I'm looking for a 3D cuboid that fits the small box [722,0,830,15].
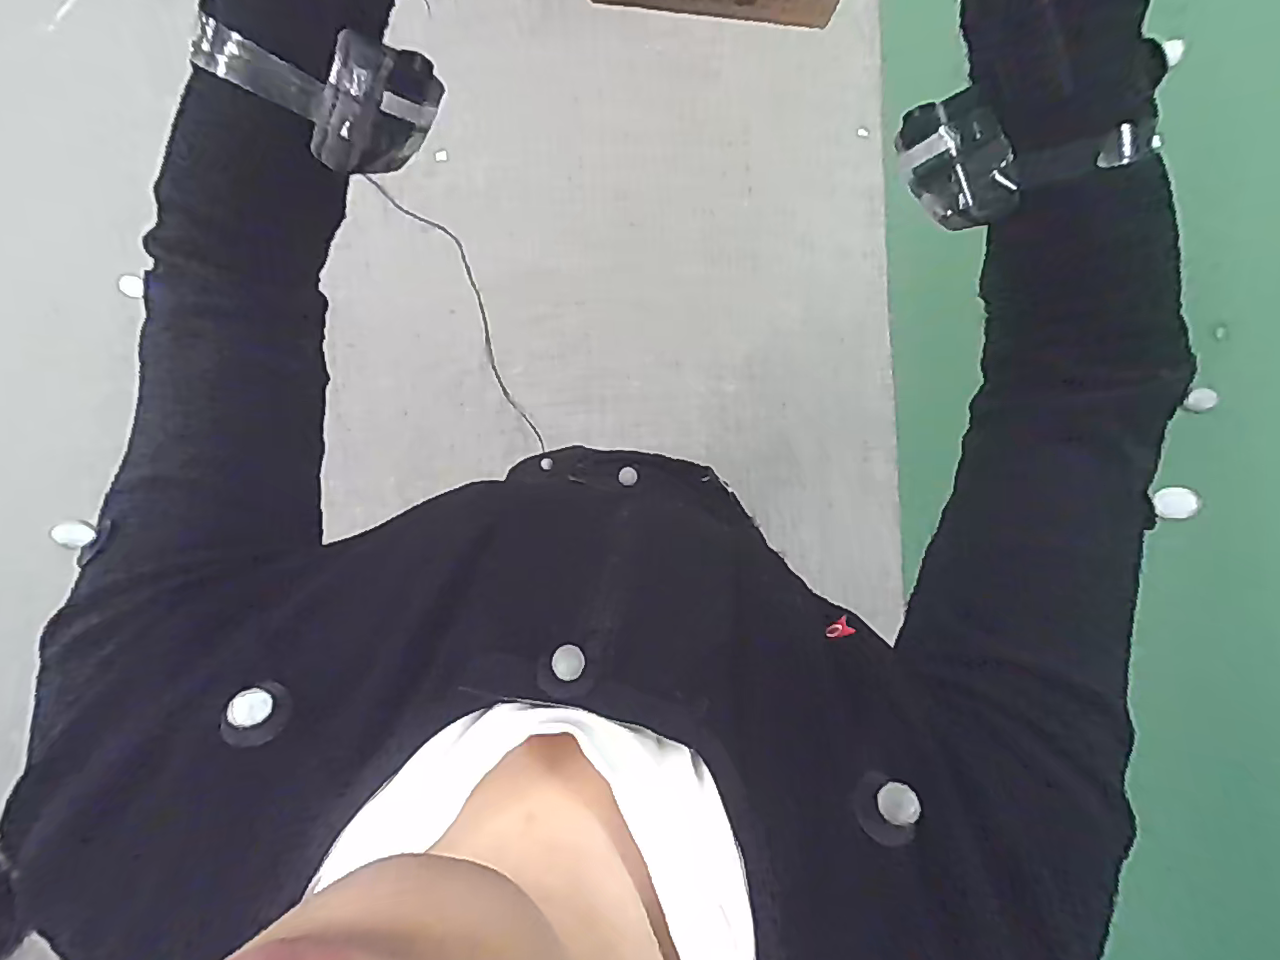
[{"bbox_3d":[0.057,-0.401,0.285,0.168,0.176,0.179,4,90,-2],"label":"small box"}]
